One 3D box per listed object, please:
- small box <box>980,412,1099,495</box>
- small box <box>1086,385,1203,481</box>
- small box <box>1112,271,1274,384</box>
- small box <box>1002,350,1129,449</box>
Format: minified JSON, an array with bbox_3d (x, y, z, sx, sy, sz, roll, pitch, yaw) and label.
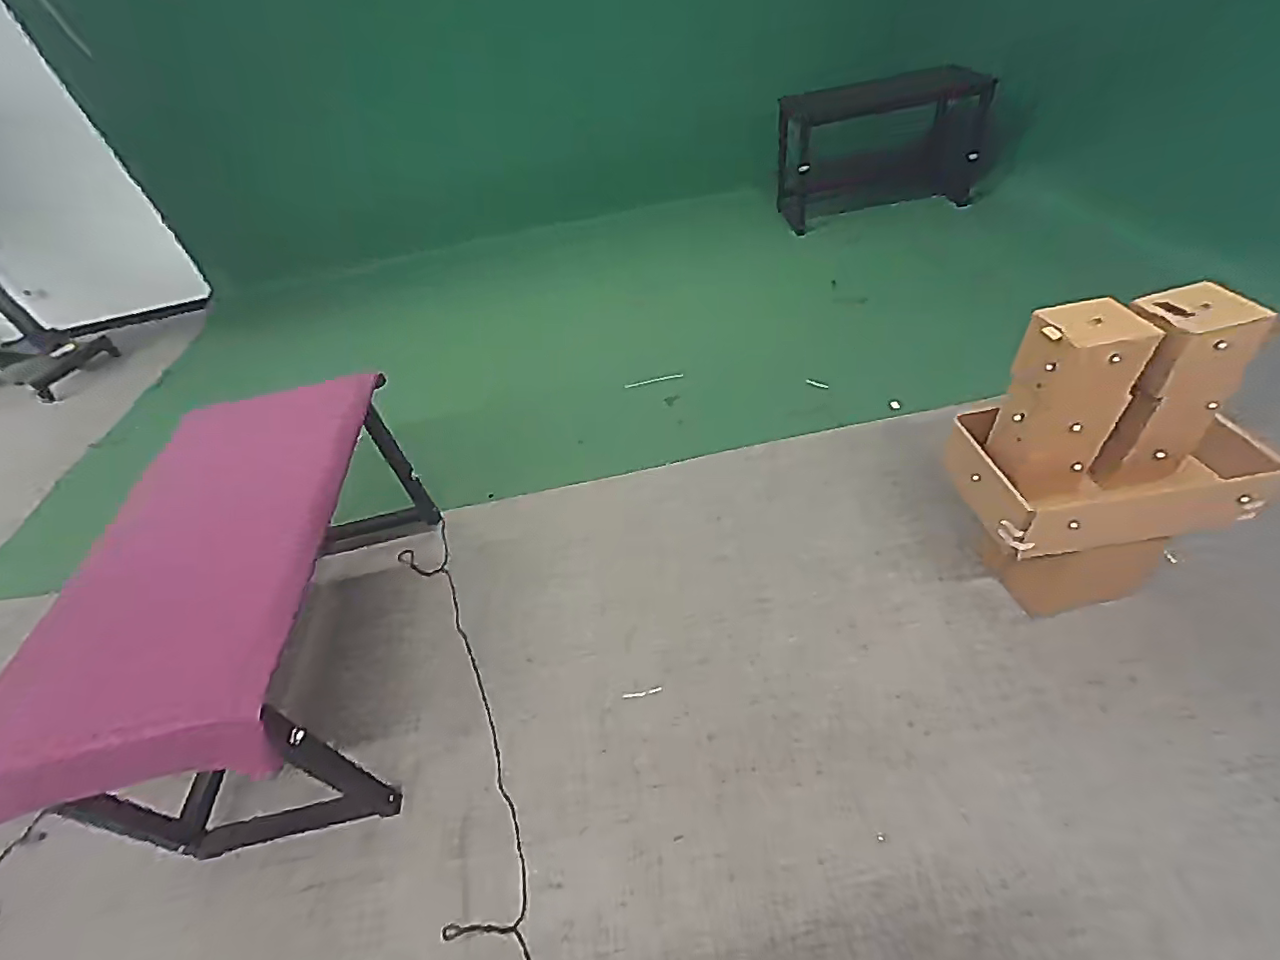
[{"bbox_3d":[1.067,-0.082,1.461,0.179,0.176,0.168,-10,44,2],"label":"small box"},{"bbox_3d":[1.316,-0.123,1.452,0.179,0.176,0.168,-14,45,4],"label":"small box"},{"bbox_3d":[1.225,-0.341,1.222,0.179,0.176,0.168,-15,44,2],"label":"small box"},{"bbox_3d":[1.041,-0.195,1.348,0.179,0.176,0.168,-10,45,3],"label":"small box"}]
